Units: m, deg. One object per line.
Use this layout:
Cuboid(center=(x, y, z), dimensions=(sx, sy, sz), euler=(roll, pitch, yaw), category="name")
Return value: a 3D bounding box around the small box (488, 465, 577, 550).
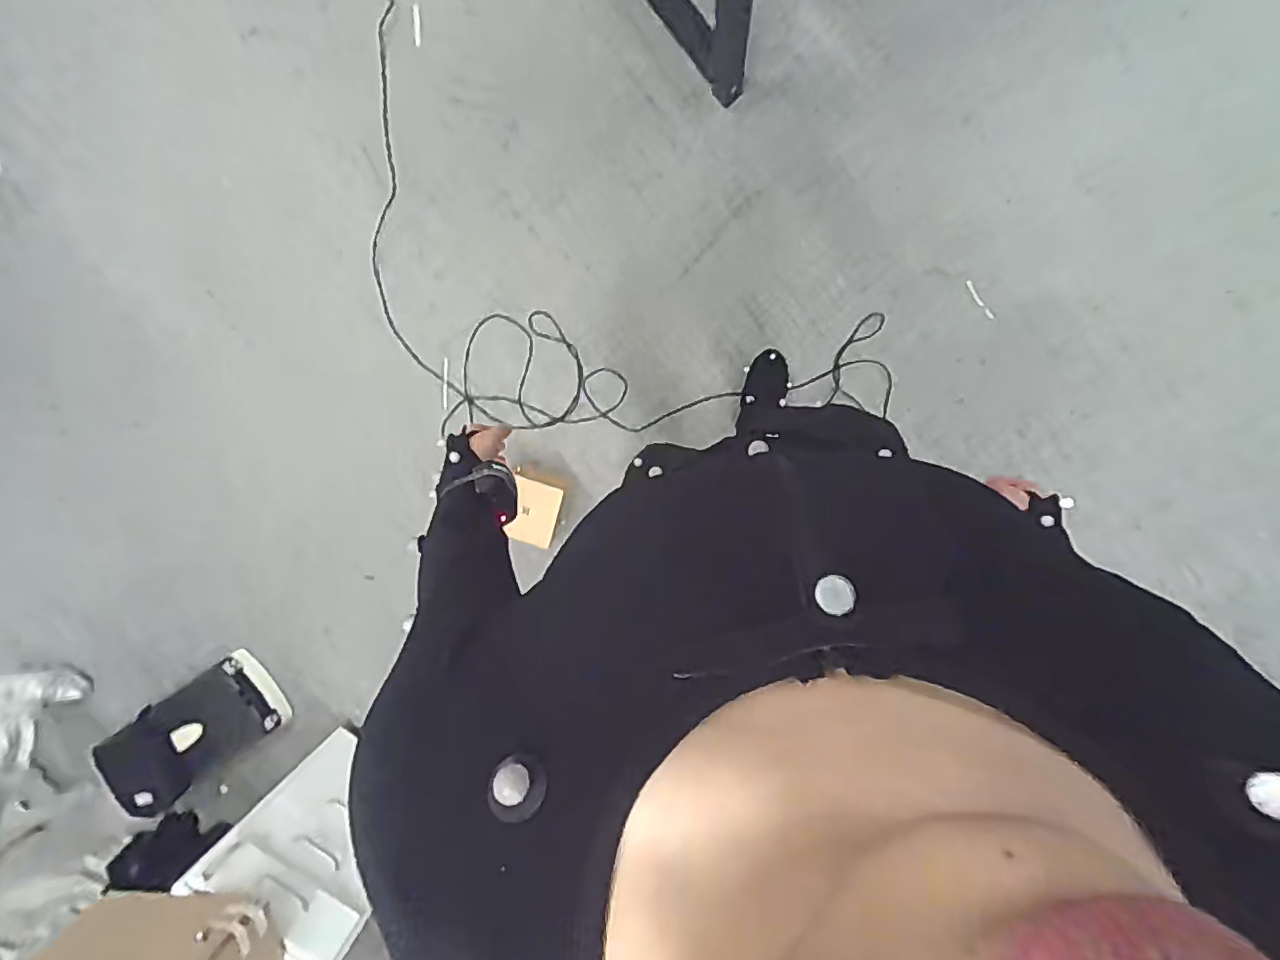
Cuboid(center=(-0.282, 0.067, 1.459), dimensions=(0.179, 0.176, 0.168), euler=(17, 102, 3), category="small box")
